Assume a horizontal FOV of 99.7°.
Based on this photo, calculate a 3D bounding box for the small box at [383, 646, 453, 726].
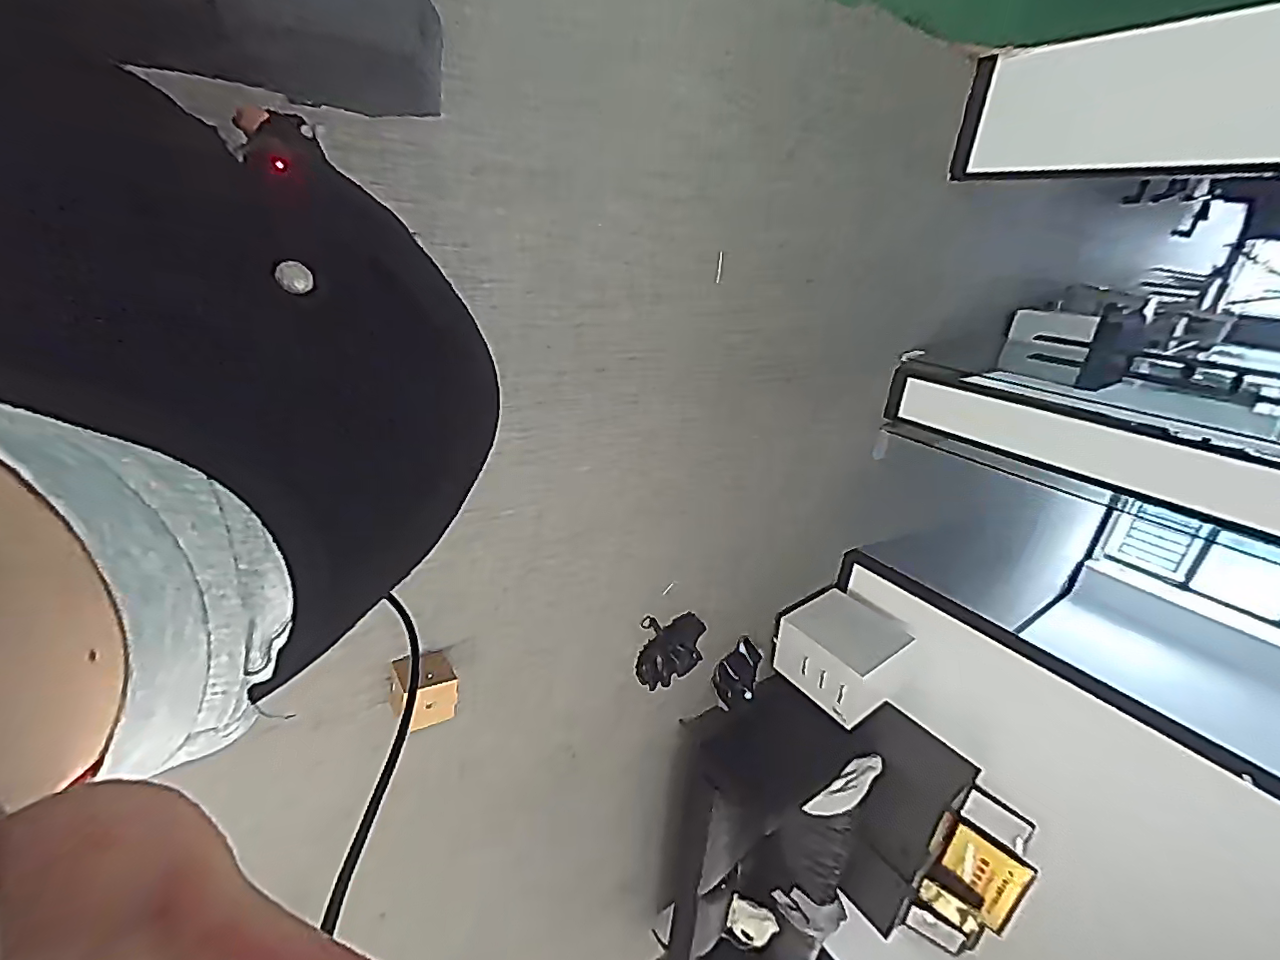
[{"bbox_3d":[-0.757,0.690,1.836,0.179,0.176,0.168,-3,113,-37],"label":"small box"}]
